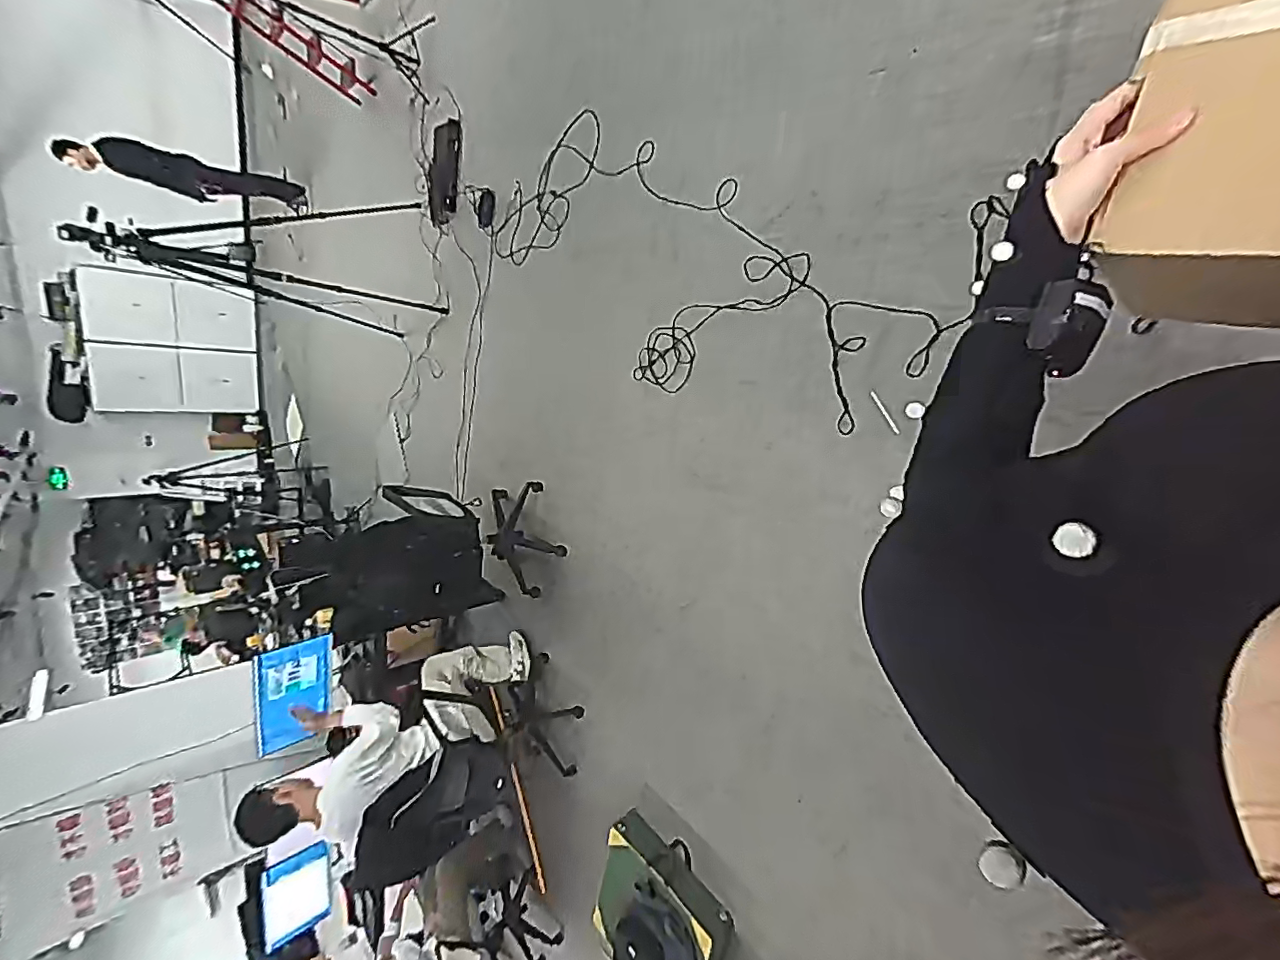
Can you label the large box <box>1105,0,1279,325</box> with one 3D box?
[{"bbox_3d":[0.644,-0.284,0.378,0.408,0.320,0.320,24,110,43],"label":"large box"}]
